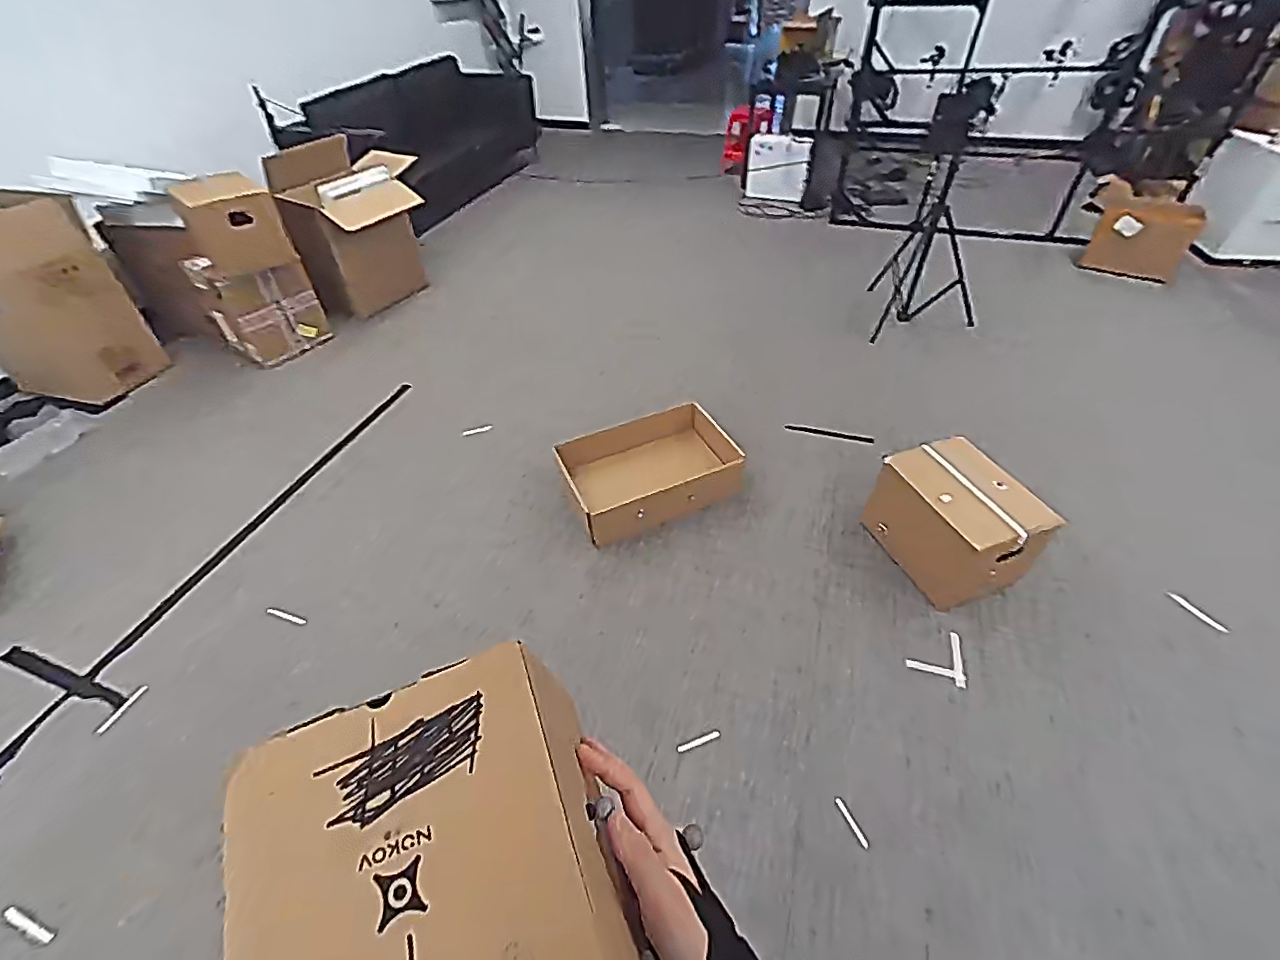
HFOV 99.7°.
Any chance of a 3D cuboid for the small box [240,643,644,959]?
[{"bbox_3d":[-0.104,0.230,0.332,0.168,0.176,0.179,-20,59,-7],"label":"small box"}]
